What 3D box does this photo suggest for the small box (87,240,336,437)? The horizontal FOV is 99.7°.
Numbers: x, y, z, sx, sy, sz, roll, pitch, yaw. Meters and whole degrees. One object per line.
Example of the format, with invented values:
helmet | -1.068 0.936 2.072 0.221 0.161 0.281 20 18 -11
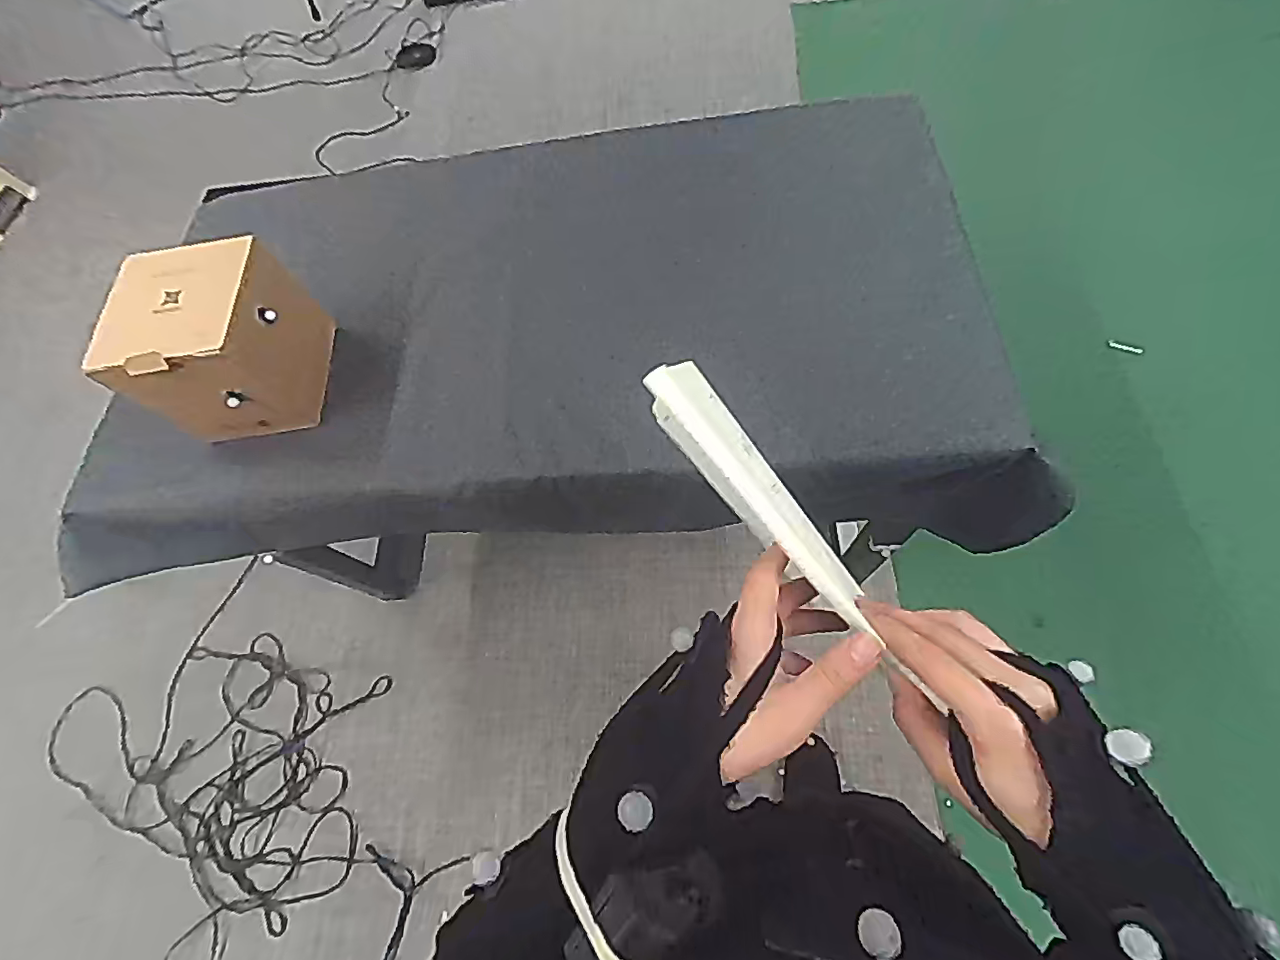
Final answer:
small box | -0.523 -0.168 0.693 0.168 0.176 0.179 -7 64 3
